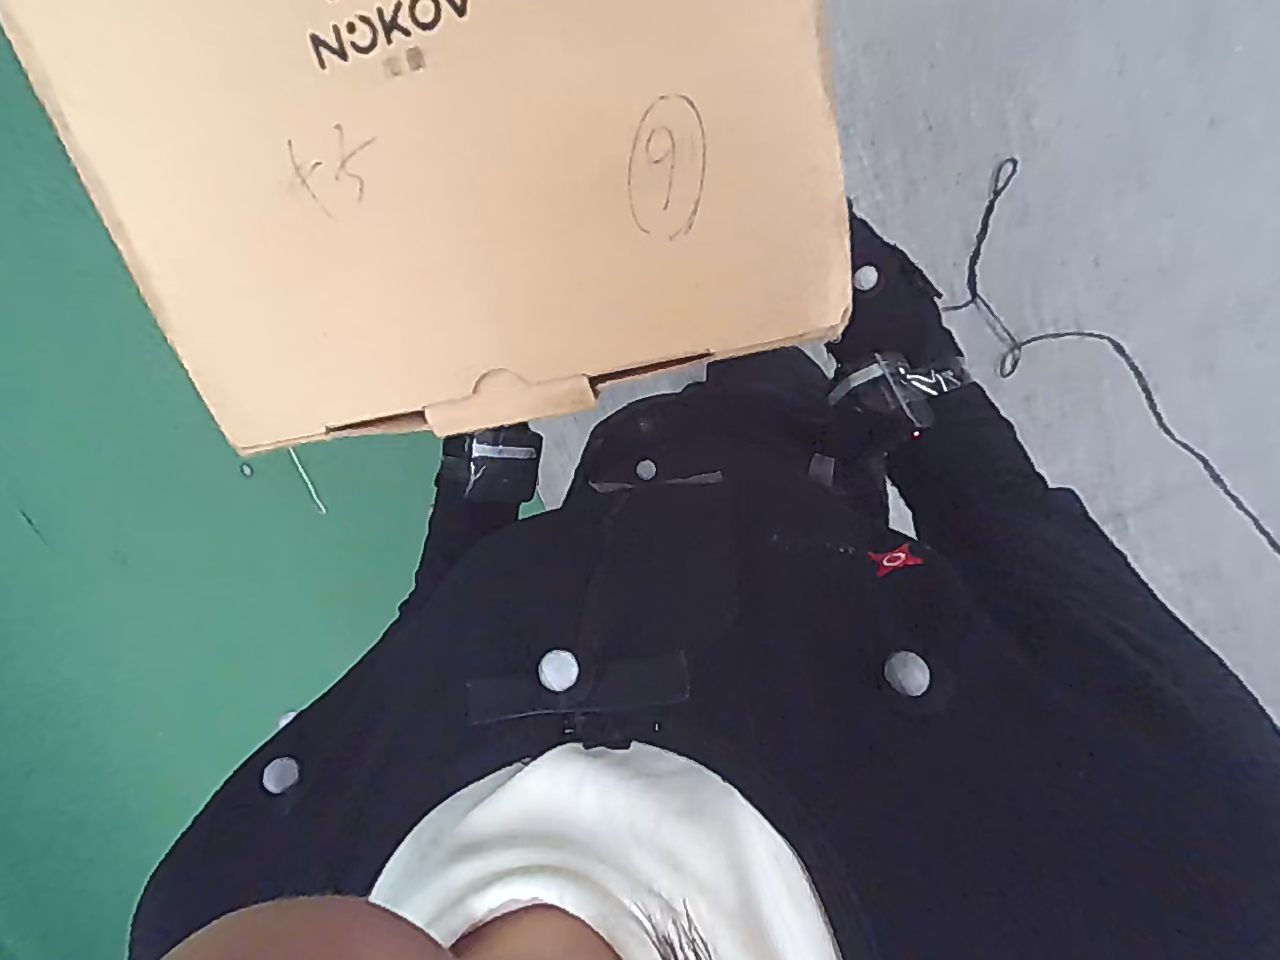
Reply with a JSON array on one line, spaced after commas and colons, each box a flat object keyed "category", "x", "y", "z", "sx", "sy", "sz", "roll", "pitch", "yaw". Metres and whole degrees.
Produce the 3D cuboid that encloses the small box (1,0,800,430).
[{"category": "small box", "x": -0.046, "y": -0.134, "z": 0.182, "sx": 0.168, "sy": 0.176, "sz": 0.179, "roll": -9, "pitch": 111, "yaw": 12}]
